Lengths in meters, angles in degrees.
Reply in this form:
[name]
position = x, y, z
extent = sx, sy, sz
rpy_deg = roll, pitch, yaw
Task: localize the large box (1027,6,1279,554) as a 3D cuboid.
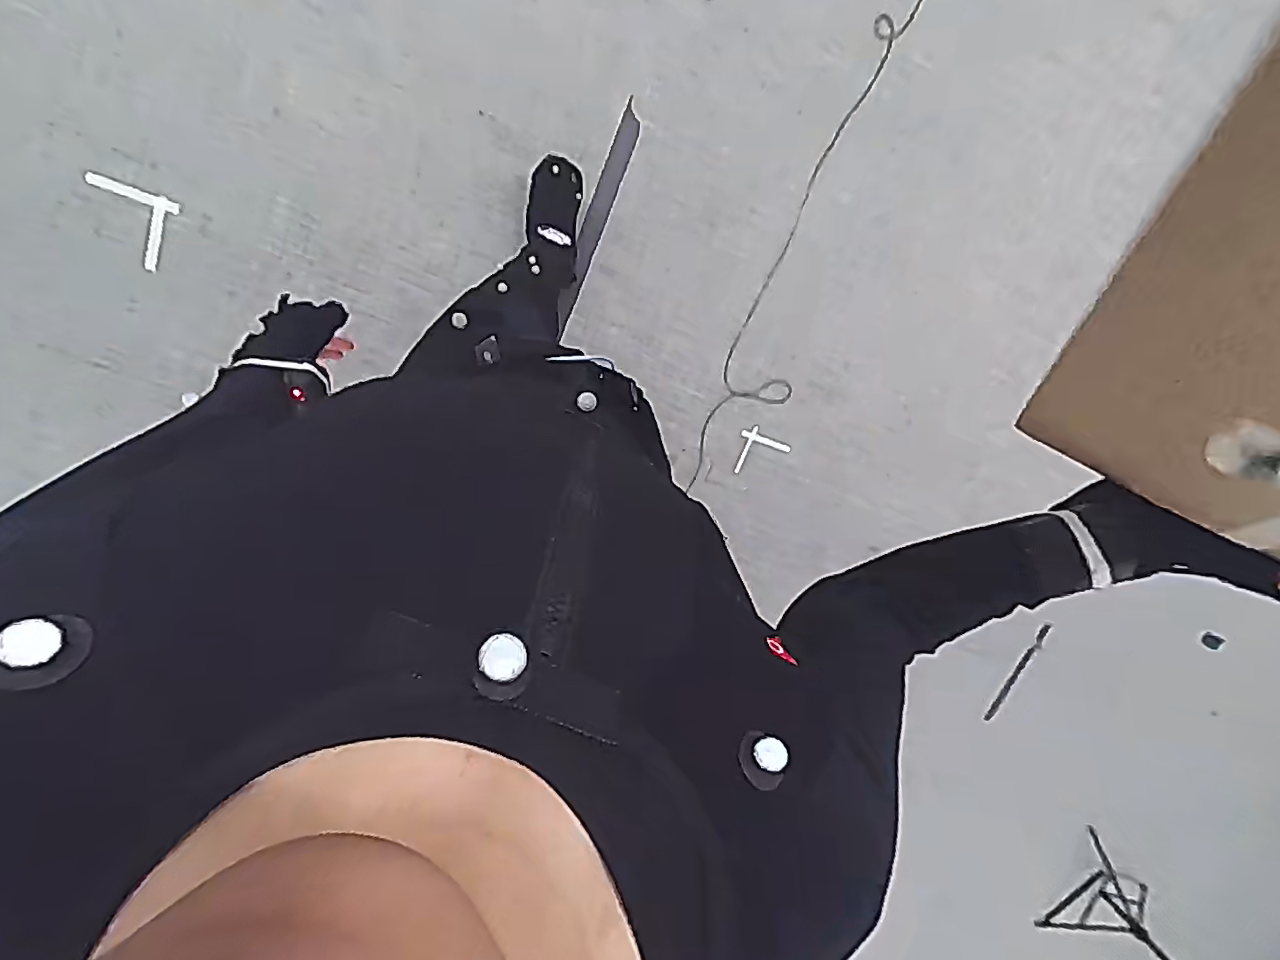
[large box]
position = 0.432, -0.126, 0.195
extent = 0.320, 0.408, 0.320
rpy_deg = 42, 99, 25
